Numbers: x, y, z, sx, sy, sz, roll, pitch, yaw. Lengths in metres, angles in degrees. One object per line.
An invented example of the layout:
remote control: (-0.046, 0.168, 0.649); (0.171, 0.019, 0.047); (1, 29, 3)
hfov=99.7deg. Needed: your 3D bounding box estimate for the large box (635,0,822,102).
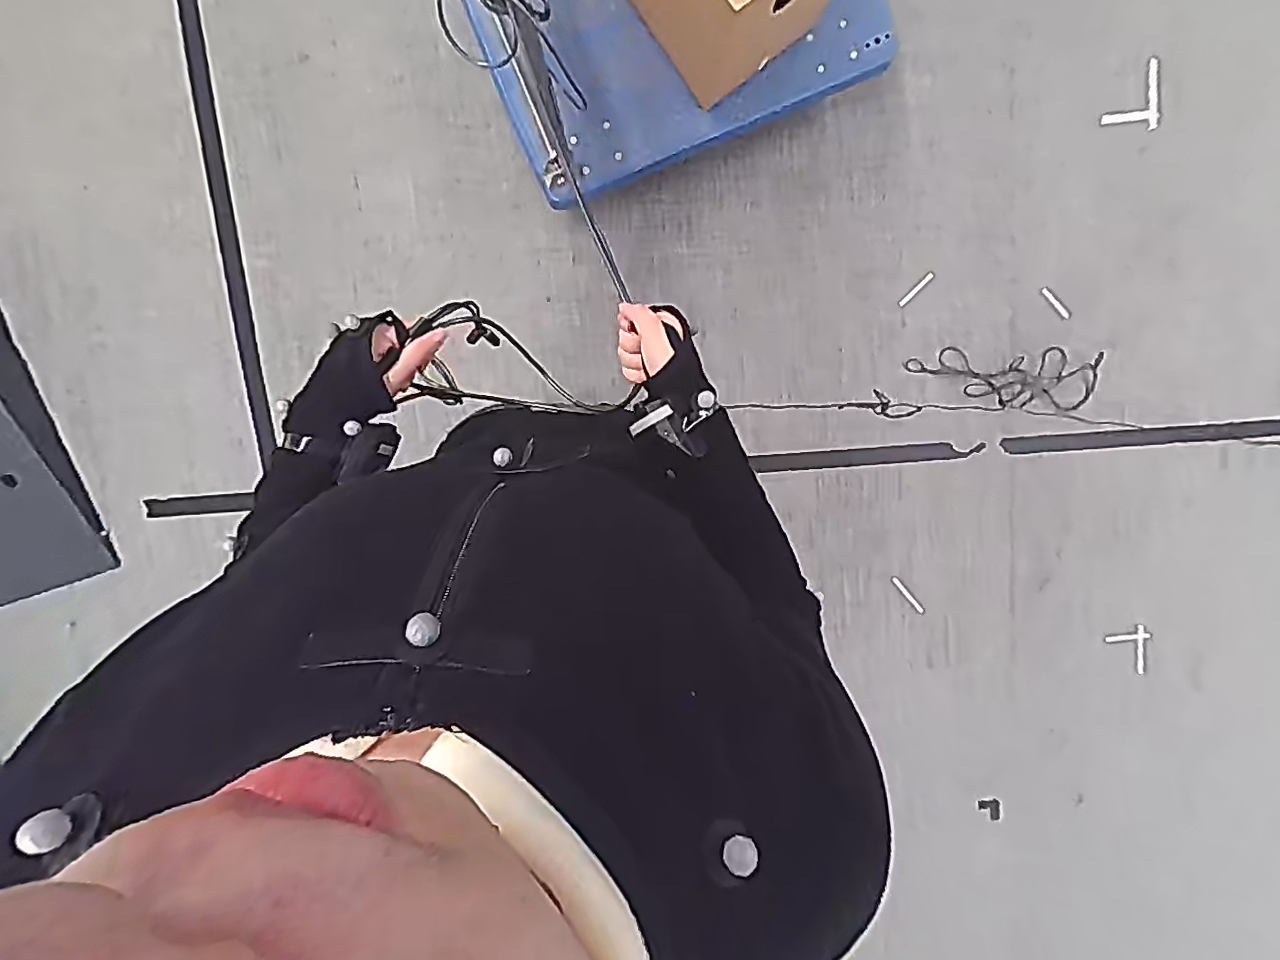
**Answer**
large box: (0.155, -1.063, 1.028); (0.320, 0.320, 0.408); (-37, 99, 3)
